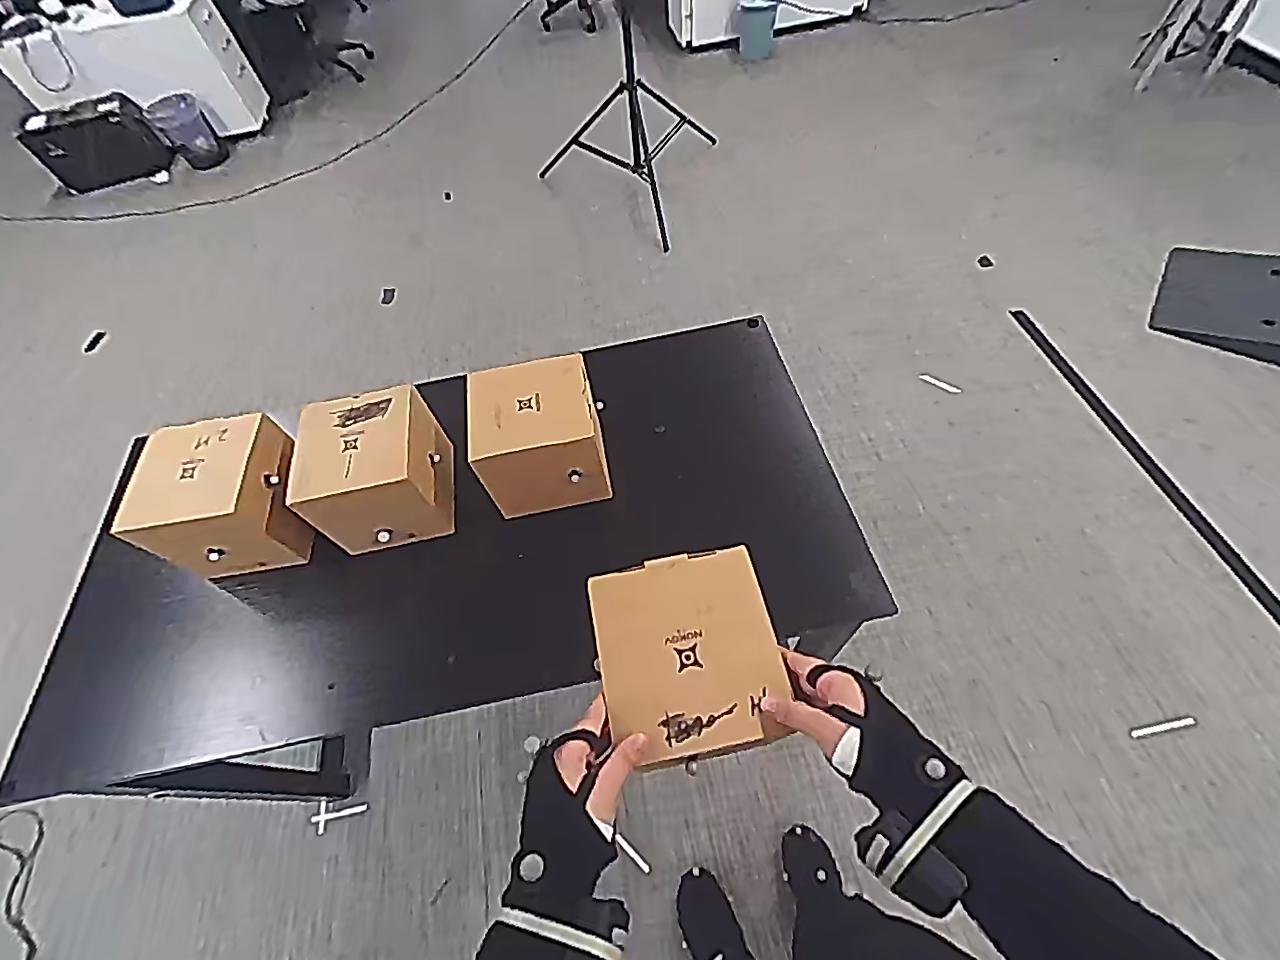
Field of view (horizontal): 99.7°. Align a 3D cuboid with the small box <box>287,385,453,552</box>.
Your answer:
[{"bbox_3d":[-0.396,-0.013,0.827,0.168,0.176,0.179,-13,59,-2],"label":"small box"}]

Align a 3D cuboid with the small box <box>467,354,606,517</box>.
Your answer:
[{"bbox_3d":[-0.153,-0.064,0.837,0.179,0.176,0.168,-12,56,-1],"label":"small box"}]

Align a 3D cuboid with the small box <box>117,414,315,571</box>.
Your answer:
[{"bbox_3d":[-0.617,0.028,0.825,0.168,0.176,0.179,-9,57,-1],"label":"small box"}]

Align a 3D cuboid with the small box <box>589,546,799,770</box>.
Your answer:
[{"bbox_3d":[0.048,0.194,0.573,0.168,0.176,0.179,-12,61,-2],"label":"small box"}]
